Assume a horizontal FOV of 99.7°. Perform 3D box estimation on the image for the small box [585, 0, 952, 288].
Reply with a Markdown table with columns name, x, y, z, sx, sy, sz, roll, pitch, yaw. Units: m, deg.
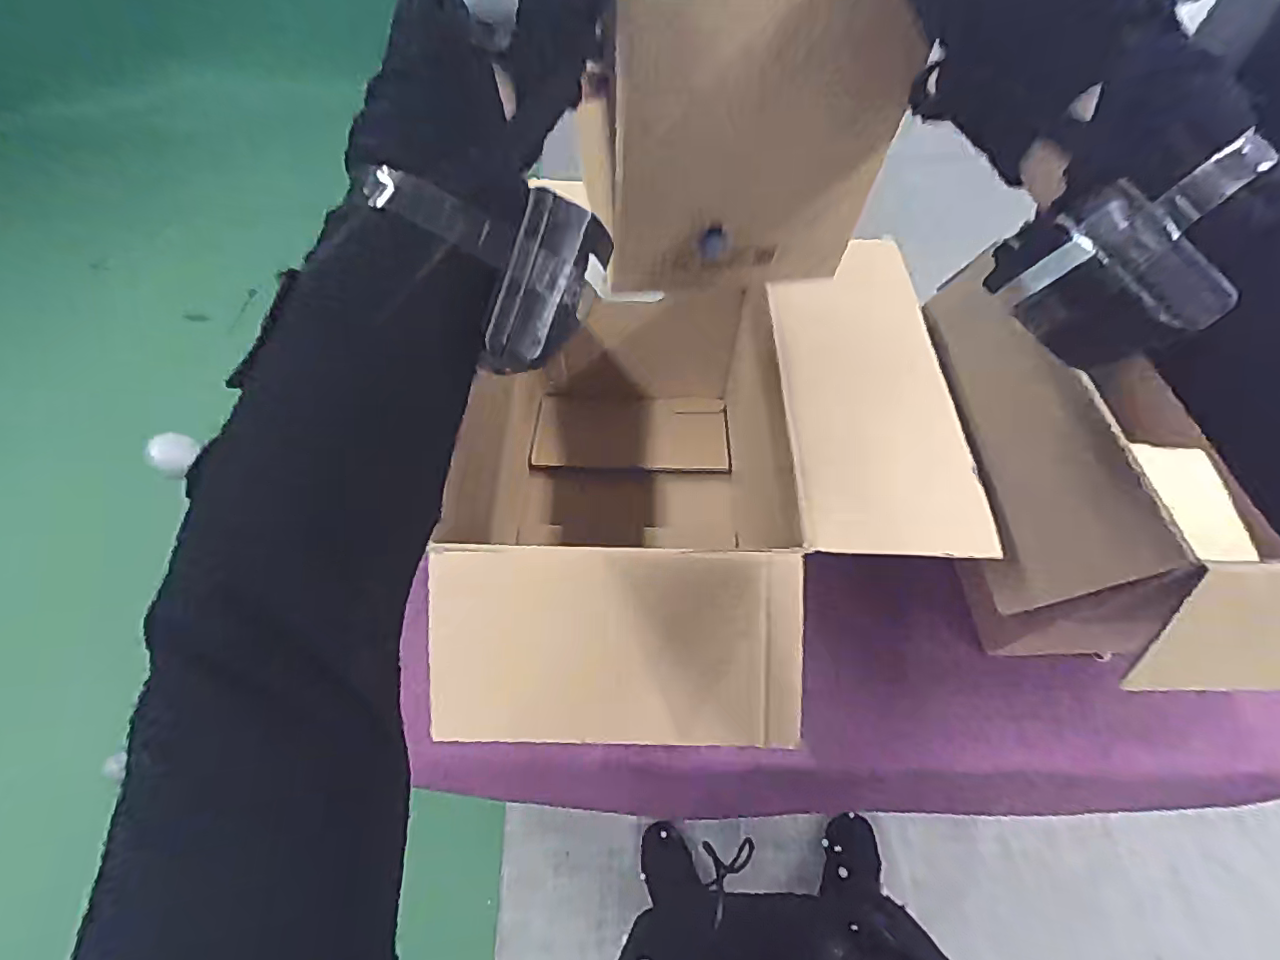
| name | x | y | z | sx | sy | sz | roll | pitch | yaw |
| --- | --- | --- | --- | --- | --- | --- | --- | --- | --- |
| small box | 0.053 | -0.253 | 0.355 | 0.168 | 0.176 | 0.179 | -8 | 61 | -6 |
